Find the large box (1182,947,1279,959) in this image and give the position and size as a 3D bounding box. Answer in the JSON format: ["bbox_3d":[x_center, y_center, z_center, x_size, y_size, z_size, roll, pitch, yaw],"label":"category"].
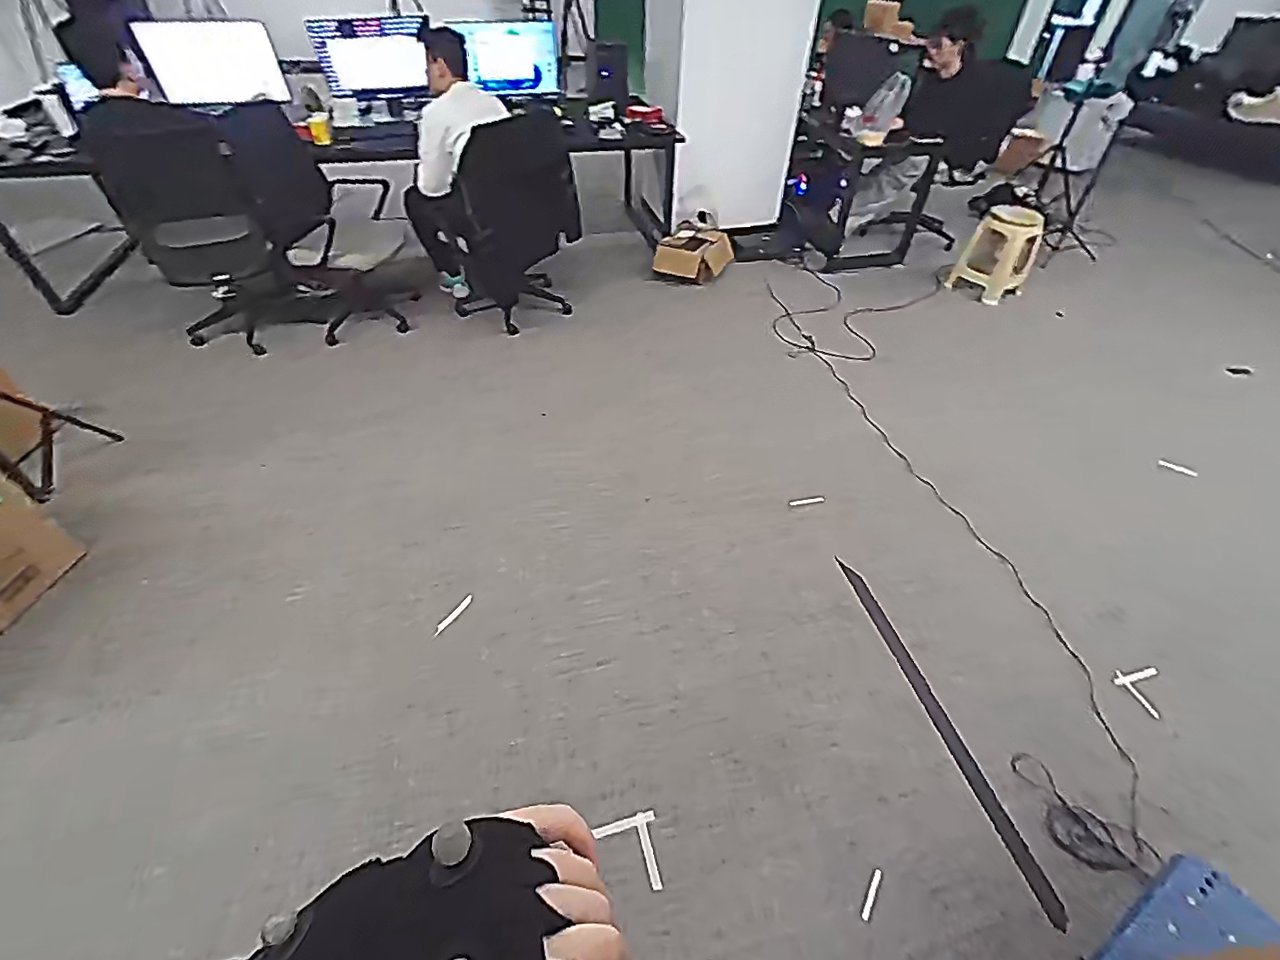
[{"bbox_3d":[0.997,0.959,0.726,0.320,0.320,0.408,-33,54,-29],"label":"large box"}]
